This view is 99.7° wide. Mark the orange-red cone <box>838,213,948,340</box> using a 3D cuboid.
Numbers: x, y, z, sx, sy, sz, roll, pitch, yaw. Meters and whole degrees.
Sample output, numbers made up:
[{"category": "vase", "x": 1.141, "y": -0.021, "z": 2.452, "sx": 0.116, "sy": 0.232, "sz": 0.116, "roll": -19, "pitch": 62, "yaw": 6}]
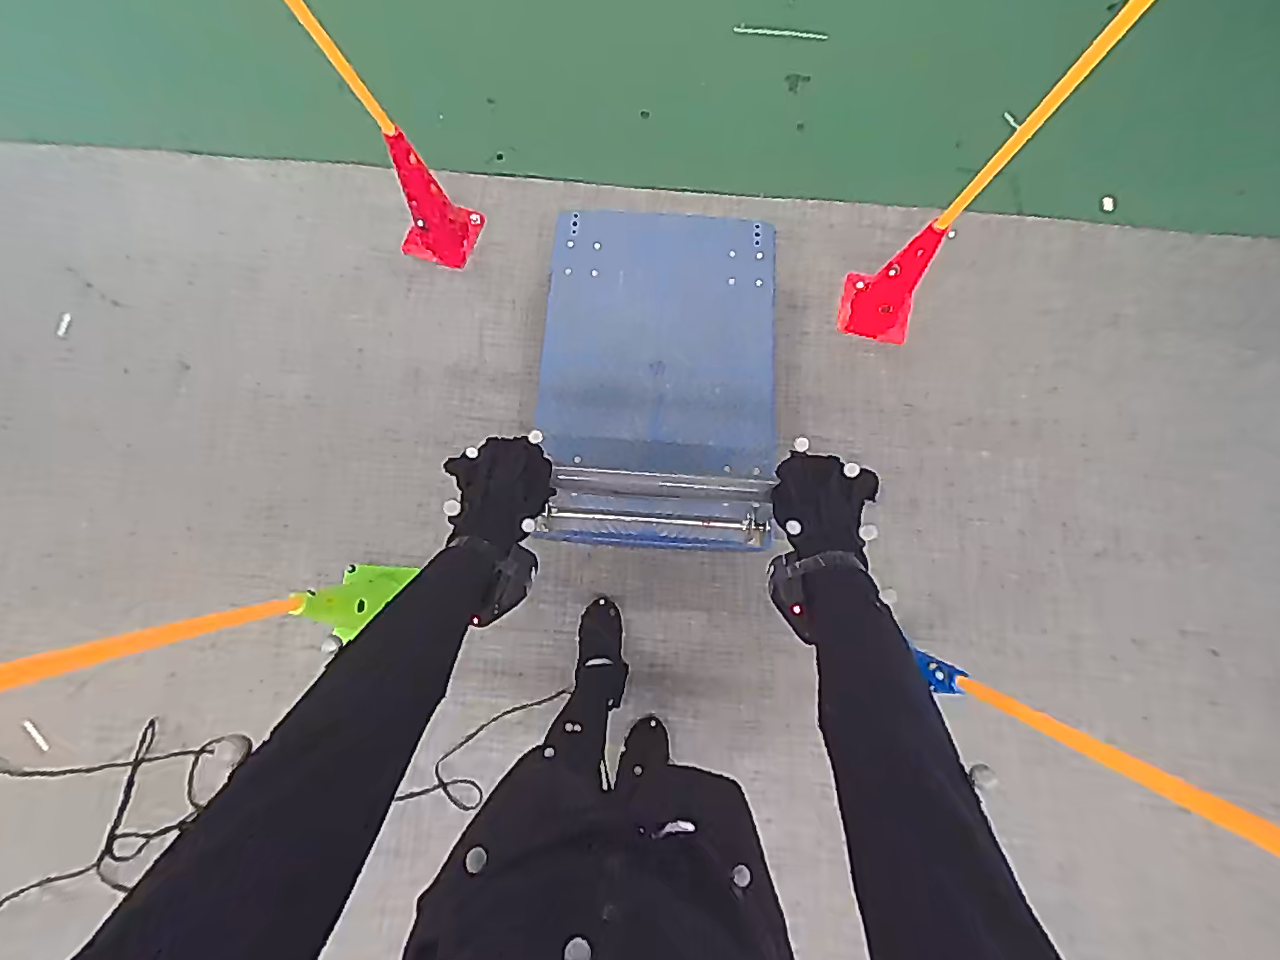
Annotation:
[{"category": "orange-red cone", "x": 0.678, "y": -0.545, "z": 1.387, "sx": 0.198, "sy": 0.360, "sz": 0.199, "roll": 16, "pitch": 78, "yaw": 4}]
